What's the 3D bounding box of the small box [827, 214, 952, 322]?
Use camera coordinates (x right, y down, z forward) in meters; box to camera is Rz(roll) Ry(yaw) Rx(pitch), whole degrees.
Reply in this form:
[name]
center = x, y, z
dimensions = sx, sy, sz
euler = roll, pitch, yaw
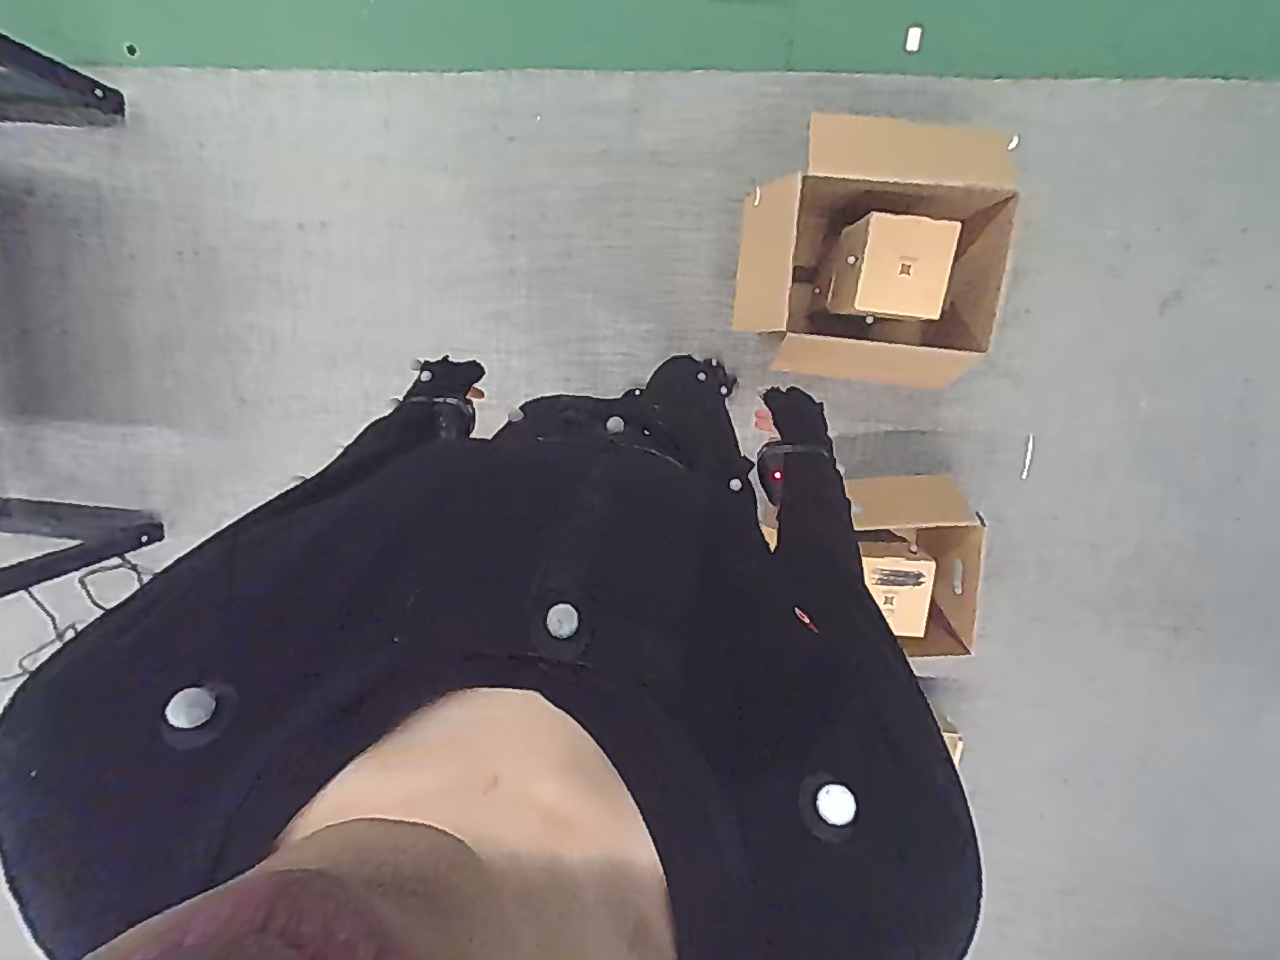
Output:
[small box]
center = 0.494, -0.421, 1.101
dimensions = 0.168, 0.176, 0.179
euler = 6, 103, 0
